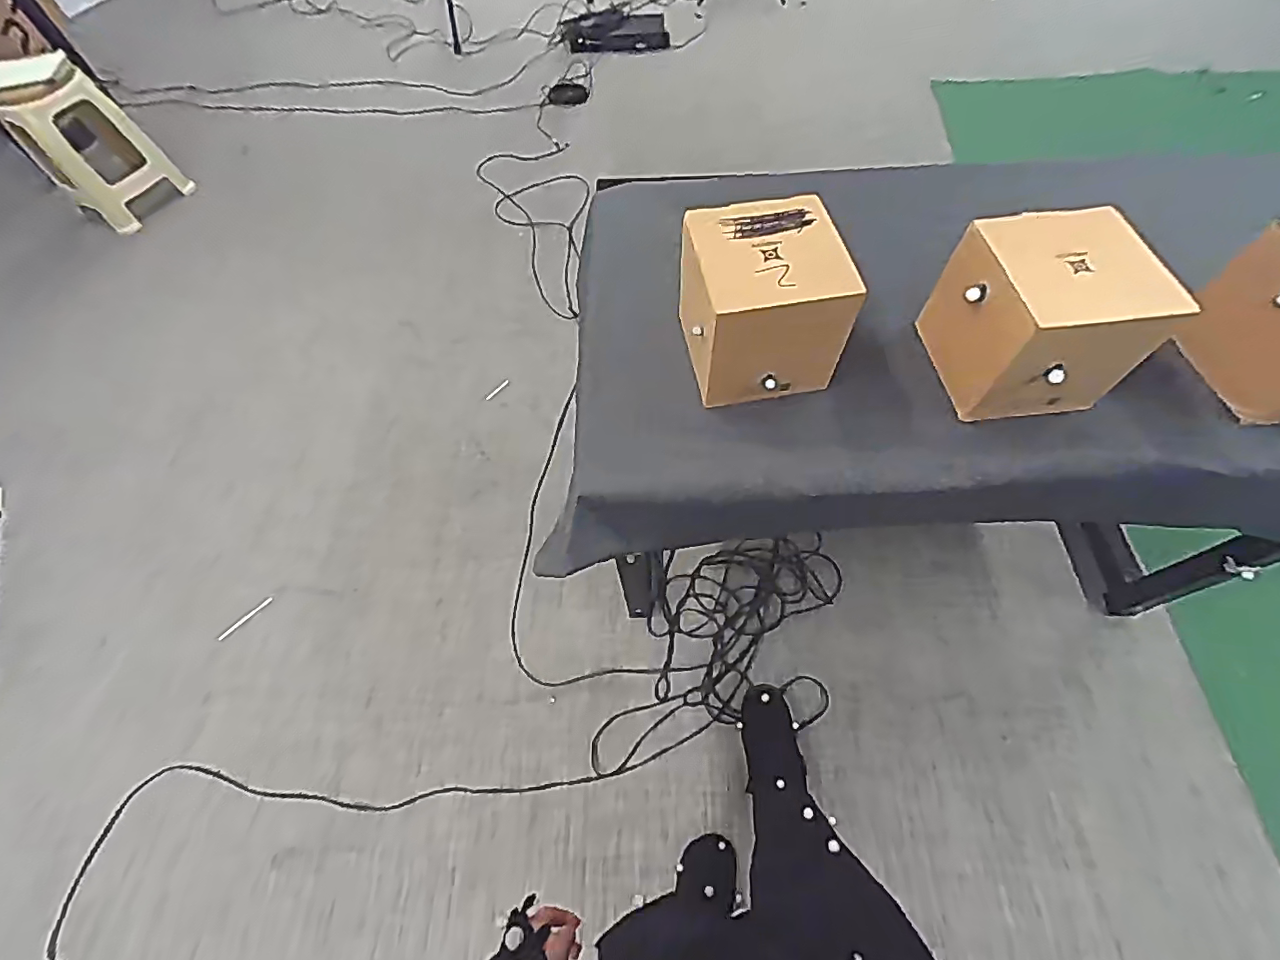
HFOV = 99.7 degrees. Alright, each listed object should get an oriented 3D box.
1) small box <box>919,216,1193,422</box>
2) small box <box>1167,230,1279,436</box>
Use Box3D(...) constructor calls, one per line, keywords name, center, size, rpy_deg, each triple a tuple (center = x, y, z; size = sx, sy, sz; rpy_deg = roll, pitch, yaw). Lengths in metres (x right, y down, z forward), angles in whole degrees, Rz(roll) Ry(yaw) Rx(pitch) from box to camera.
Box3D(name="small box", center=(0.473, -0.184, 0.653), size=(0.168, 0.176, 0.179), rpy_deg=(-6, 60, -1))
Box3D(name="small box", center=(0.798, -0.175, 0.634), size=(0.168, 0.176, 0.179), rpy_deg=(-8, 61, 0))
